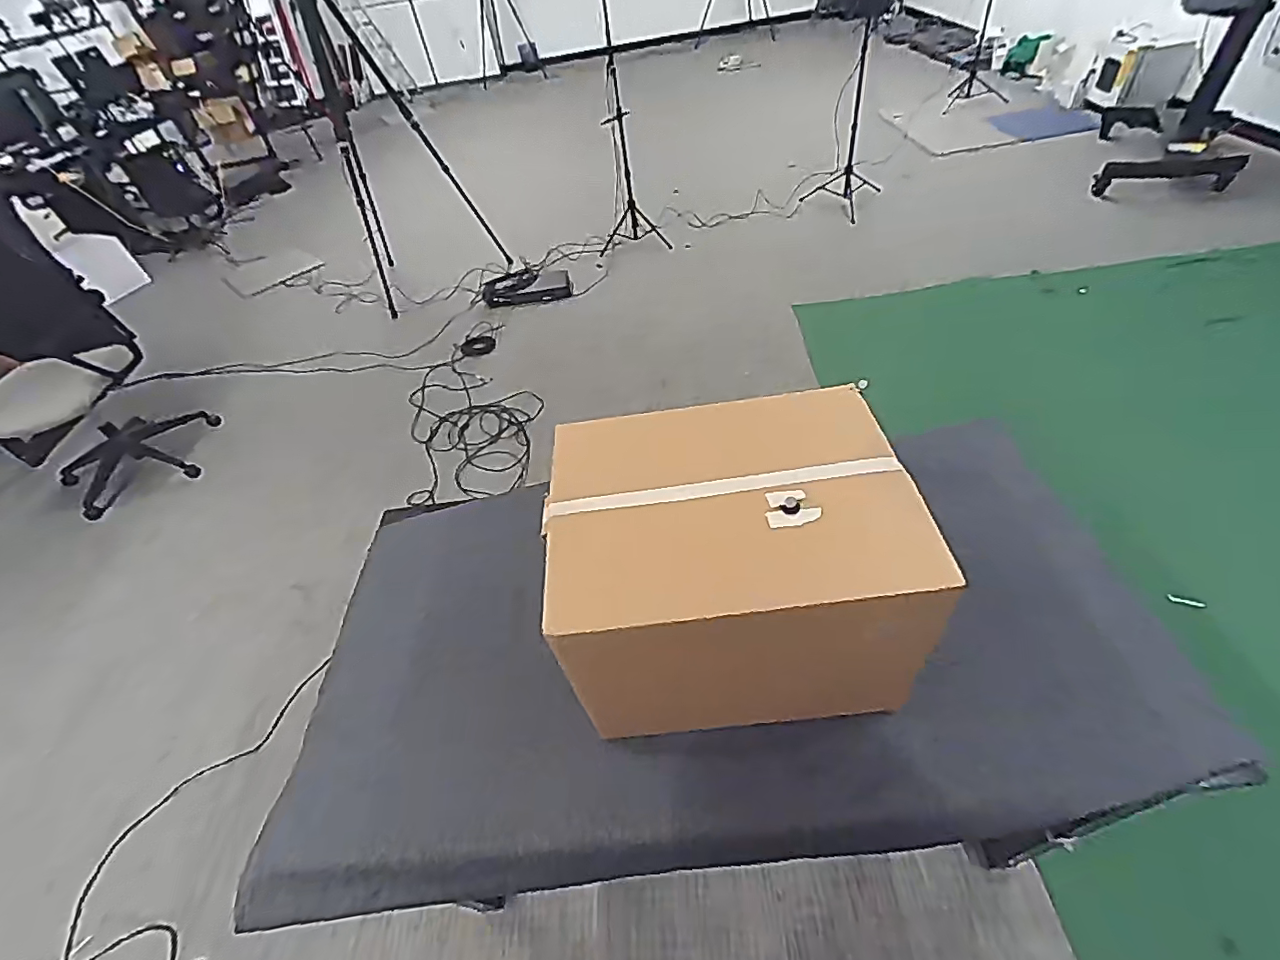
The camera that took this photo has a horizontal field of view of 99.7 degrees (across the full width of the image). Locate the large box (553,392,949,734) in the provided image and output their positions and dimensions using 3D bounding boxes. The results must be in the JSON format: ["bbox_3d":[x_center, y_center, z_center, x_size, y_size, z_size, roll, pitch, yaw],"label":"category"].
[{"bbox_3d":[0.113,0.119,0.741,0.408,0.320,0.320,-7,47,3],"label":"large box"}]
